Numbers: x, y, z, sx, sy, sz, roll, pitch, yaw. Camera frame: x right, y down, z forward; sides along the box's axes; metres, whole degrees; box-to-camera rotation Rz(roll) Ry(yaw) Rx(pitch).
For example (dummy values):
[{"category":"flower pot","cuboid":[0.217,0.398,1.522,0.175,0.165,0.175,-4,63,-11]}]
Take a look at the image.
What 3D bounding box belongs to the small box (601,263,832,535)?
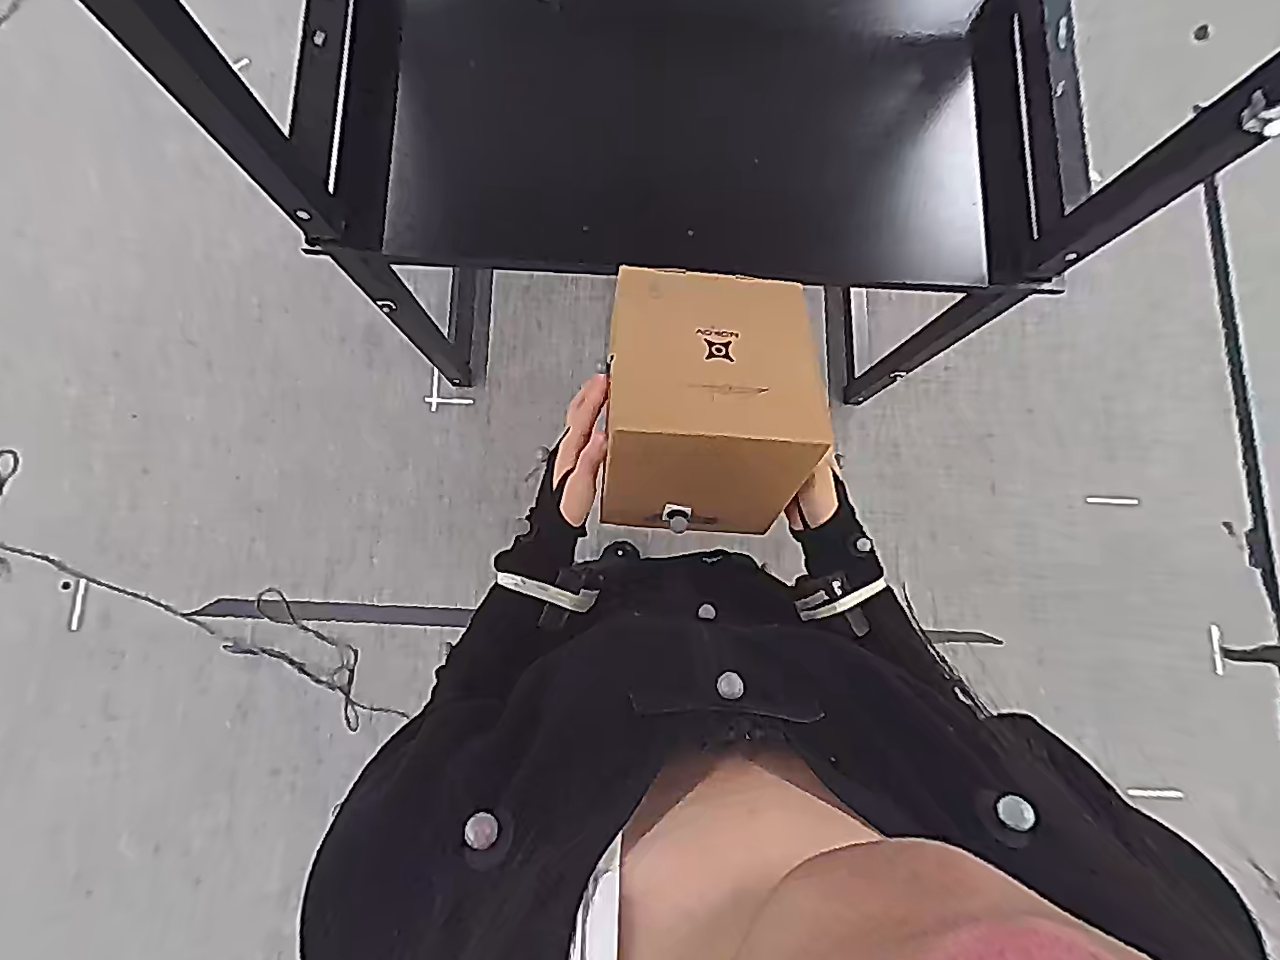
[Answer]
[{"category":"small box","cuboid":[0.052,-0.066,0.497,0.168,0.176,0.179,3,60,-5]}]
